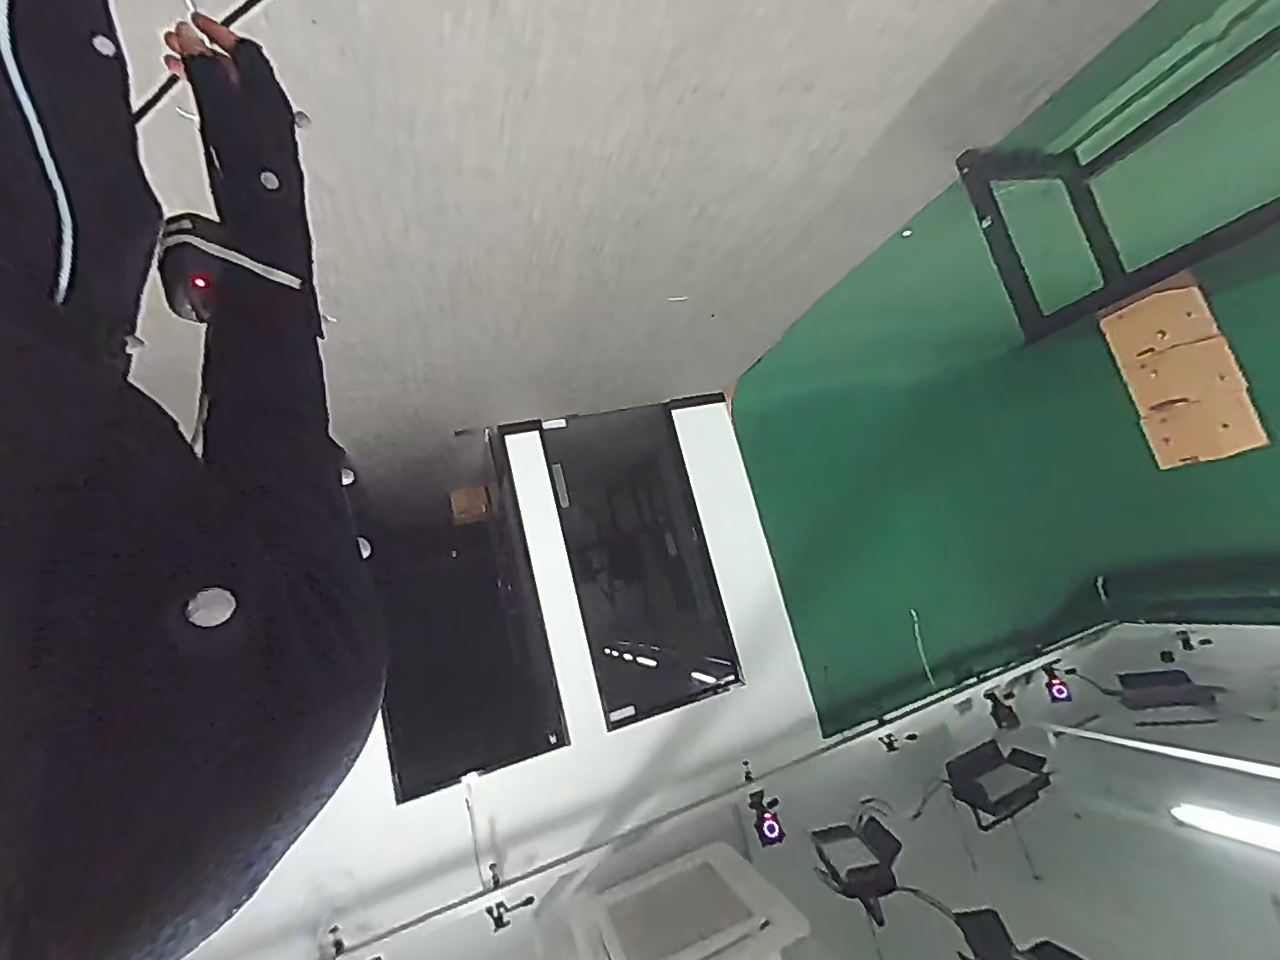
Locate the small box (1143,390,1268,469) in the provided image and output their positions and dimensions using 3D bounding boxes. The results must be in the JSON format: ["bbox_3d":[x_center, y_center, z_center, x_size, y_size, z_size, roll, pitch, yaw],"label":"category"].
[{"bbox_3d":[1.646,-0.147,1.585,0.179,0.176,0.168,-14,171,-13],"label":"small box"}]

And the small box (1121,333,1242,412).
[{"bbox_3d":[1.601,-0.320,1.607,0.179,0.176,0.168,-13,170,-12],"label":"small box"}]
